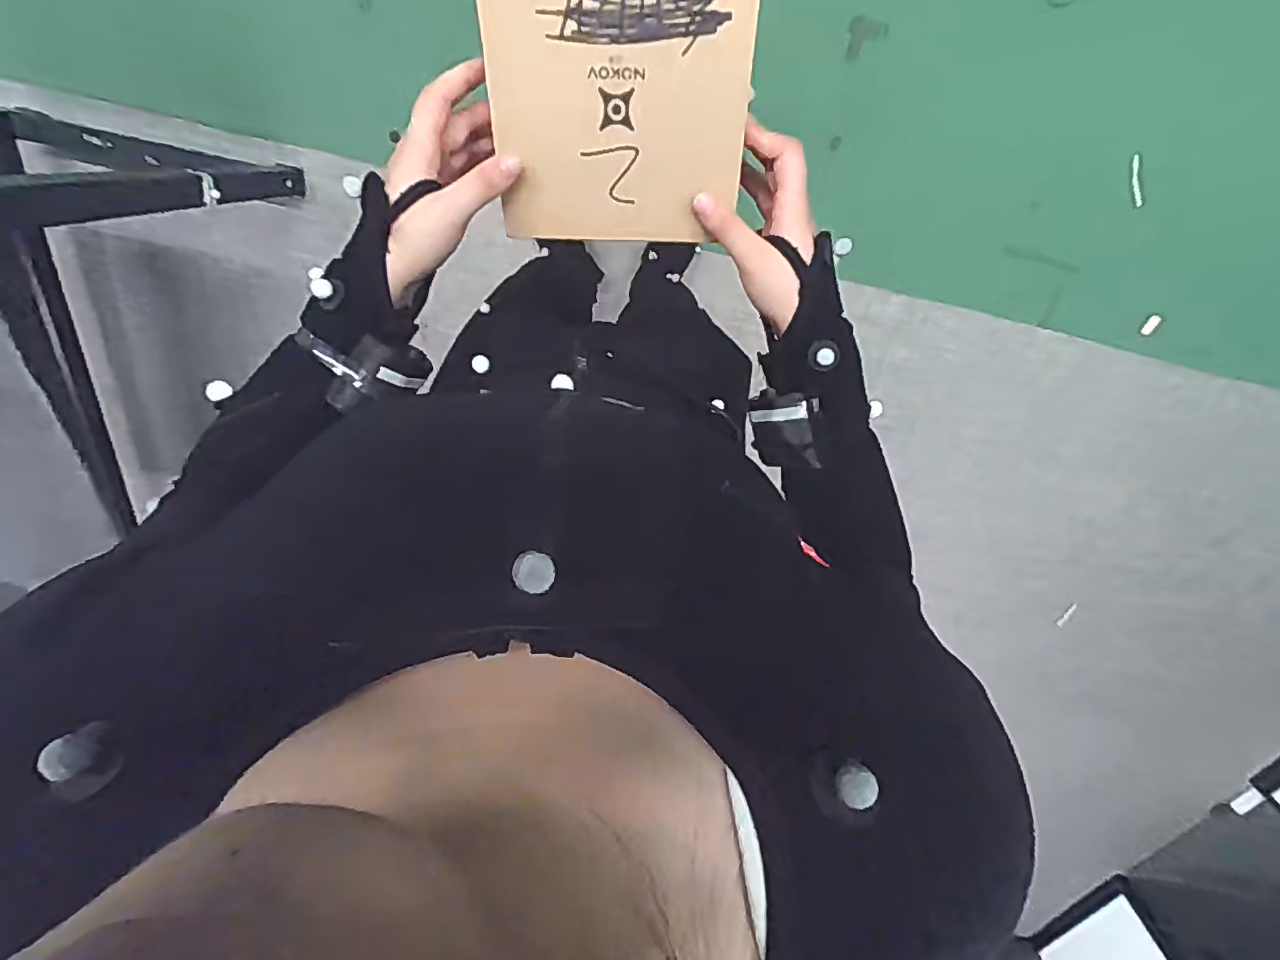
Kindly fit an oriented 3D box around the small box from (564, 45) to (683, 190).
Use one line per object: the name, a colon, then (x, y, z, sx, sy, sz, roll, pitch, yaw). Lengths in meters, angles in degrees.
small box: (-0.028, -0.717, 1.084, 0.168, 0.176, 0.179, -28, 116, 16)
